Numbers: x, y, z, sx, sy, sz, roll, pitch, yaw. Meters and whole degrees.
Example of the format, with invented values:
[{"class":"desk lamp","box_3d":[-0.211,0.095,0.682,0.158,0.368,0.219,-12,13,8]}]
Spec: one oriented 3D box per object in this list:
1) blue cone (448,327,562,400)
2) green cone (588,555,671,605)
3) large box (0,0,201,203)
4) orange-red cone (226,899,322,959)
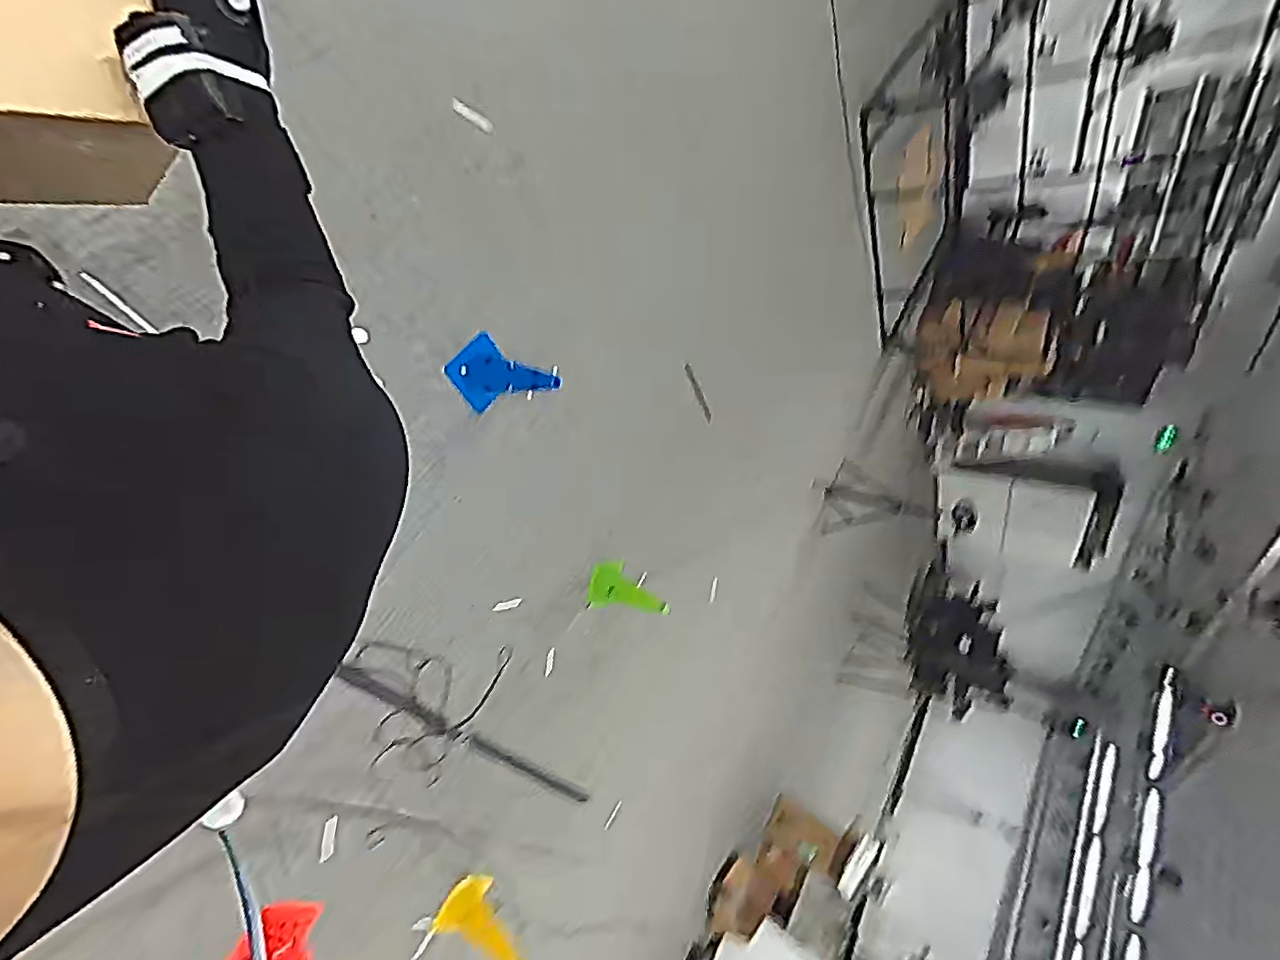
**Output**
[{"class":"blue cone","box_3d":[-0.386,-0.342,1.639,0.192,0.380,0.193,-55,138,-27]},{"class":"green cone","box_3d":[-0.022,0.471,2.338,0.200,0.368,0.202,2,98,-53]},{"class":"large box","box_3d":[-0.590,-0.366,0.324,0.408,0.320,0.320,-26,117,-42]},{"class":"orange-red cone","box_3d":[-0.925,1.355,1.463,0.198,0.360,0.199,-58,141,-21]}]
